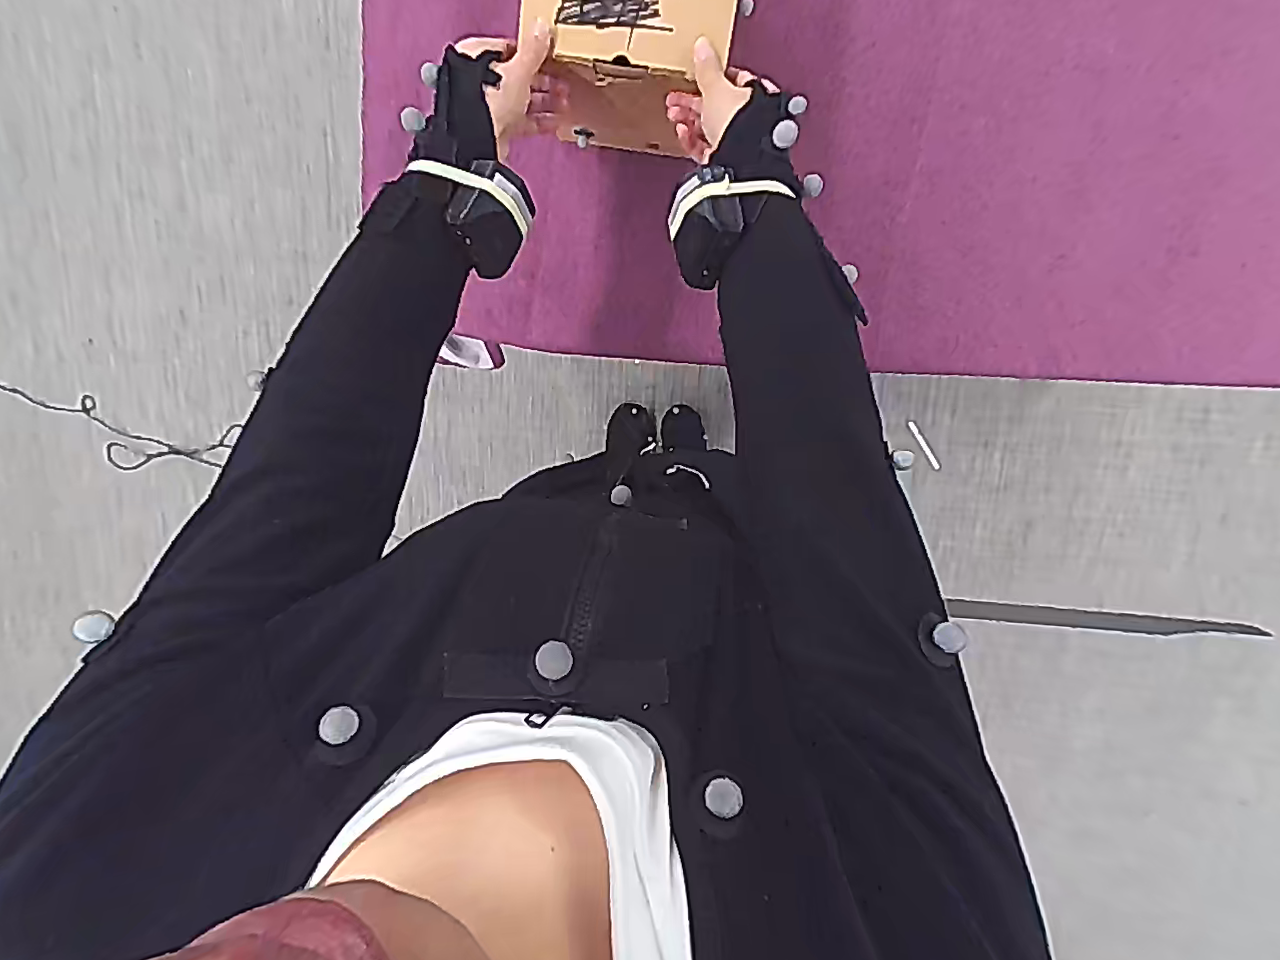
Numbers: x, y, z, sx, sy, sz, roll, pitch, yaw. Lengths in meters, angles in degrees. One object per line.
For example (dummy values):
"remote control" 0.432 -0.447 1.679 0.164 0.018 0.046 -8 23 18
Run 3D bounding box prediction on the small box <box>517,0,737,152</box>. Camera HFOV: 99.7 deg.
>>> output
"small box" 0.001 -0.423 0.480 0.168 0.176 0.179 9 101 1
